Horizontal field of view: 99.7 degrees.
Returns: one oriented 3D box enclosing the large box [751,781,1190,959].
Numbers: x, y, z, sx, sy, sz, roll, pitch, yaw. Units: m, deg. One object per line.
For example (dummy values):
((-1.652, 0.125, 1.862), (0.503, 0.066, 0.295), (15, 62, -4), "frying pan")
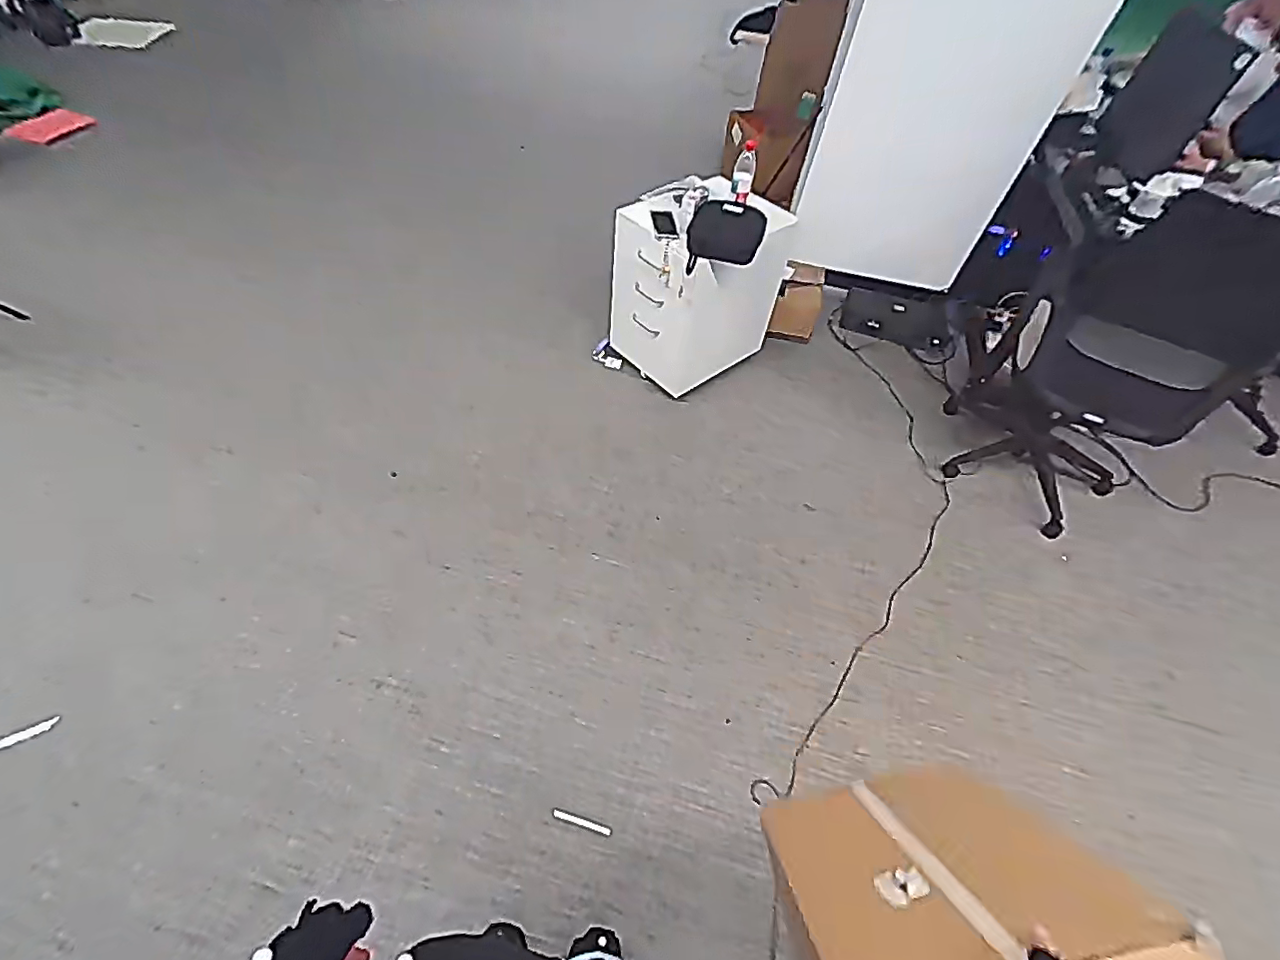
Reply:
((0.348, 0.611, 0.624), (0.320, 0.408, 0.320), (-13, 80, -1), "large box")
